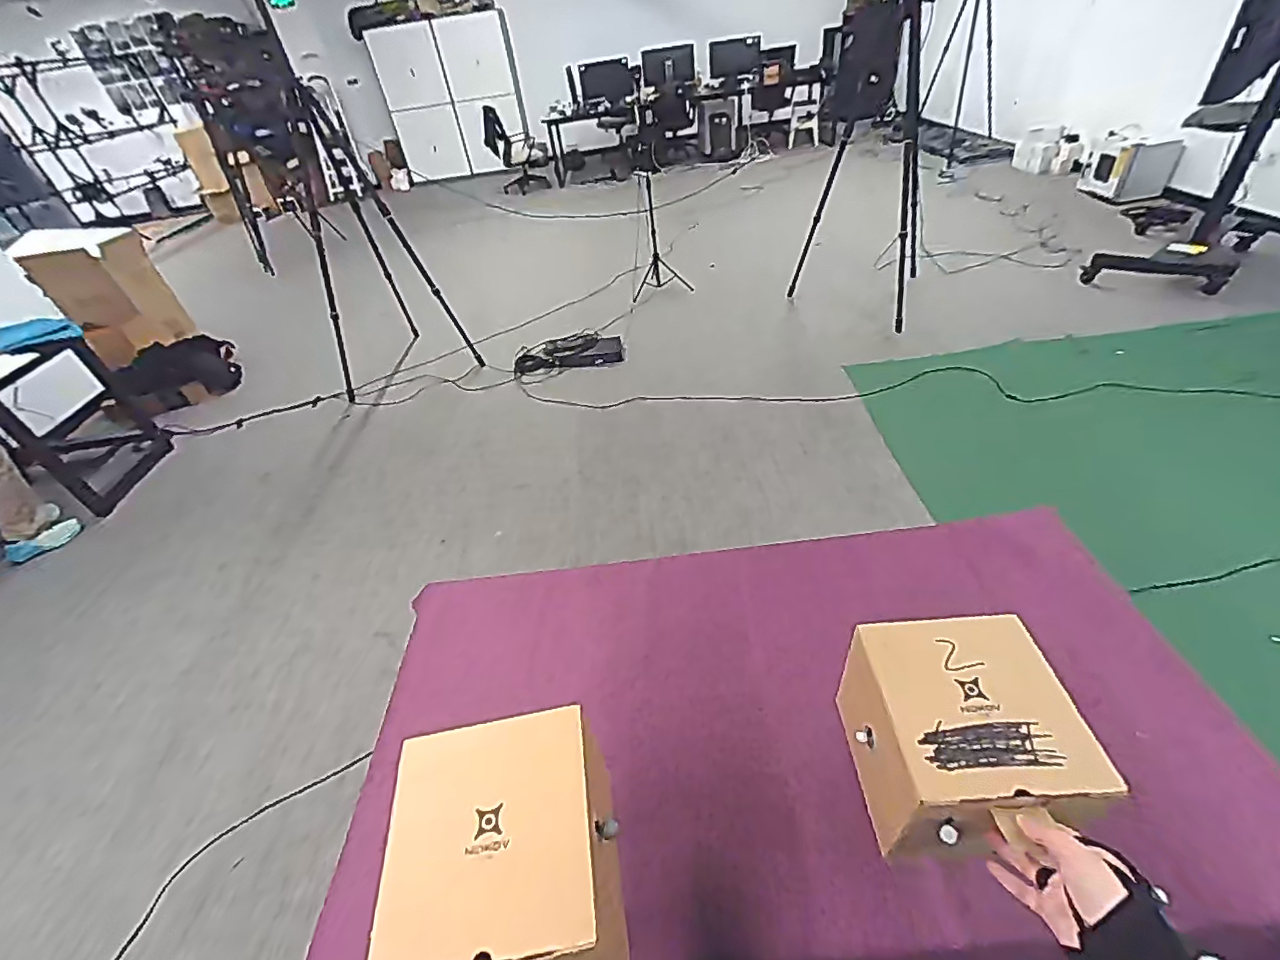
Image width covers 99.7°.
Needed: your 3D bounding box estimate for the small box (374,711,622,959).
[{"bbox_3d":[-0.115,0.348,0.501,0.168,0.176,0.179,-11,43,-2],"label":"small box"}]
